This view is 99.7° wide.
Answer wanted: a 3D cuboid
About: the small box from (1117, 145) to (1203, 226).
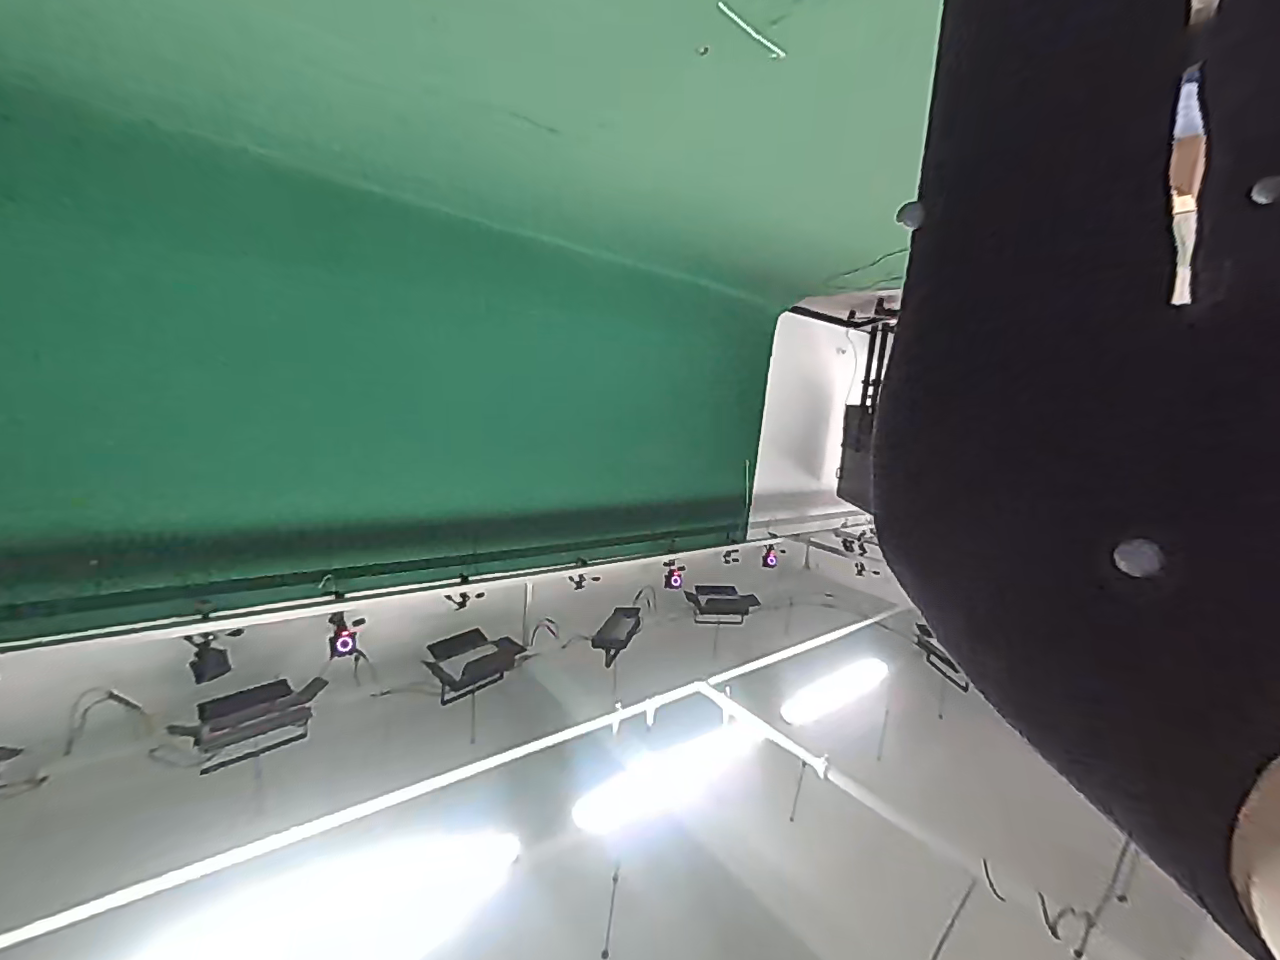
[{"bbox_3d":[1.668,-0.940,1.732,0.179,0.176,0.168,-1,-170,-40],"label":"small box"}]
